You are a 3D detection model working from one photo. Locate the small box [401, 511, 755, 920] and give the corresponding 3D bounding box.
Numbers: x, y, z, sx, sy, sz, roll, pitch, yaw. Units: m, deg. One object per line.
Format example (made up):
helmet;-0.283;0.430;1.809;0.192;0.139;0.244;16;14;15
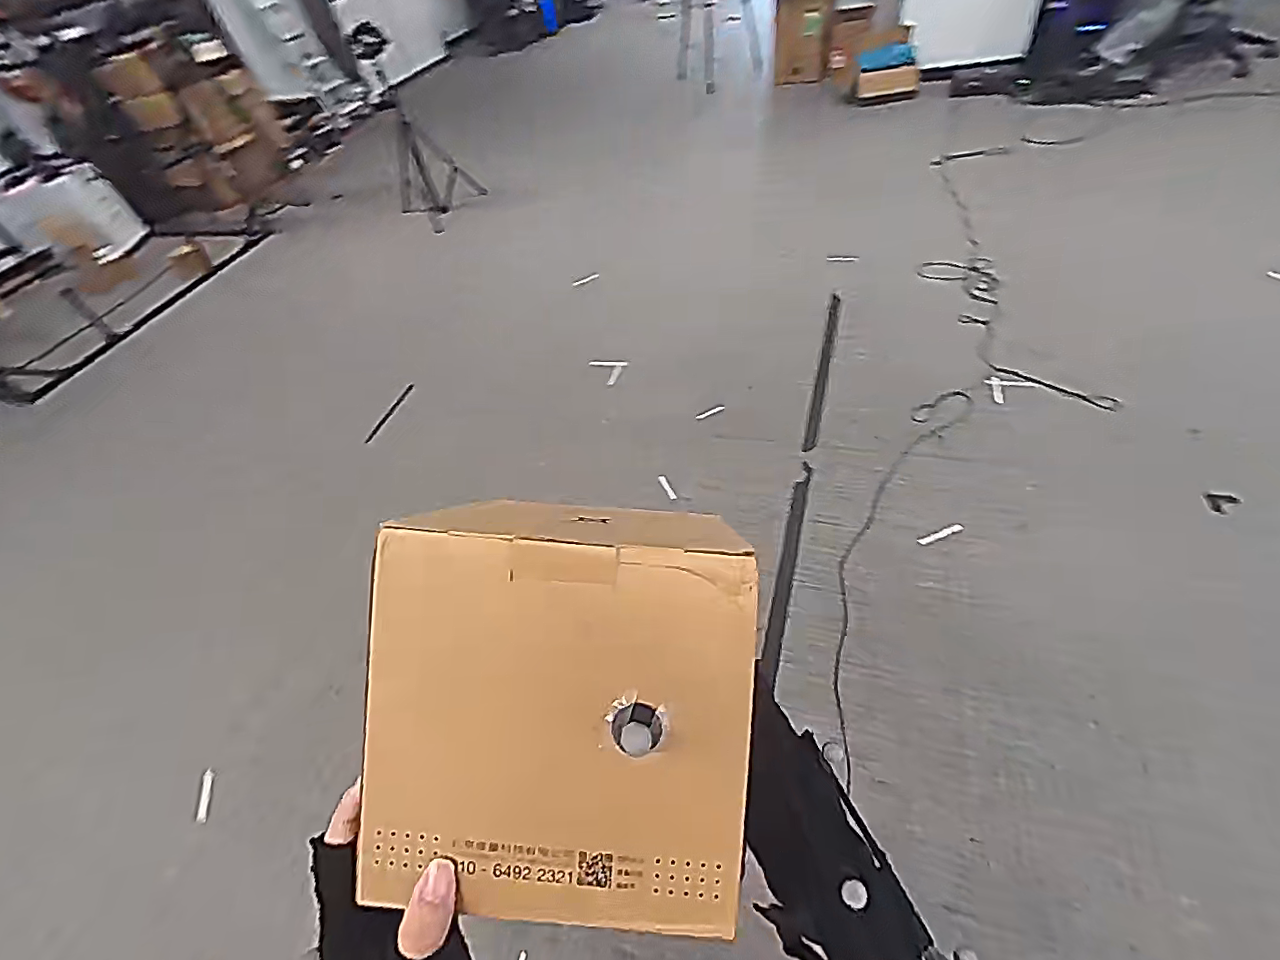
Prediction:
small box;-0.026;0.114;0.329;0.168;0.179;0.176;5;92;5
